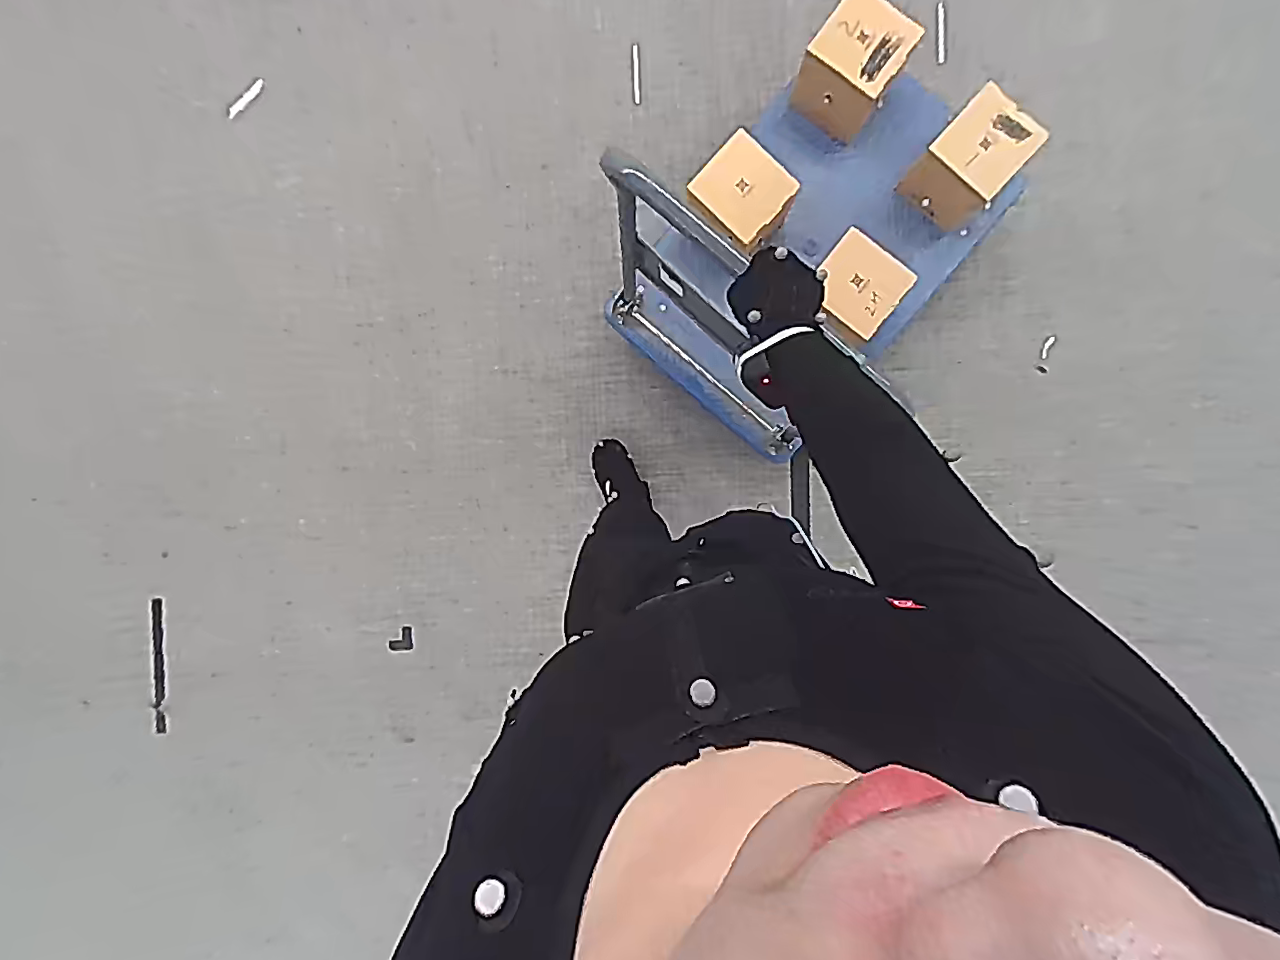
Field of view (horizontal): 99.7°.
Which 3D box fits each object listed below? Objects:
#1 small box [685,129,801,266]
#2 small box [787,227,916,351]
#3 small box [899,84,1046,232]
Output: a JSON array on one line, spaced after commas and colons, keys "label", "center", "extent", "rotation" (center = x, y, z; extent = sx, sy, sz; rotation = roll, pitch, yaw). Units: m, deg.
[{"label": "small box", "center": [0.214, -0.606, 1.188], "extent": [0.179, 0.176, 0.168], "rotation": [43, 93, -2]}, {"label": "small box", "center": [0.450, -0.405, 1.186], "extent": [0.179, 0.176, 0.168], "rotation": [39, 93, 0]}, {"label": "small box", "center": [0.702, -0.681, 1.165], "extent": [0.168, 0.176, 0.179], "rotation": [43, 94, 0]}]
